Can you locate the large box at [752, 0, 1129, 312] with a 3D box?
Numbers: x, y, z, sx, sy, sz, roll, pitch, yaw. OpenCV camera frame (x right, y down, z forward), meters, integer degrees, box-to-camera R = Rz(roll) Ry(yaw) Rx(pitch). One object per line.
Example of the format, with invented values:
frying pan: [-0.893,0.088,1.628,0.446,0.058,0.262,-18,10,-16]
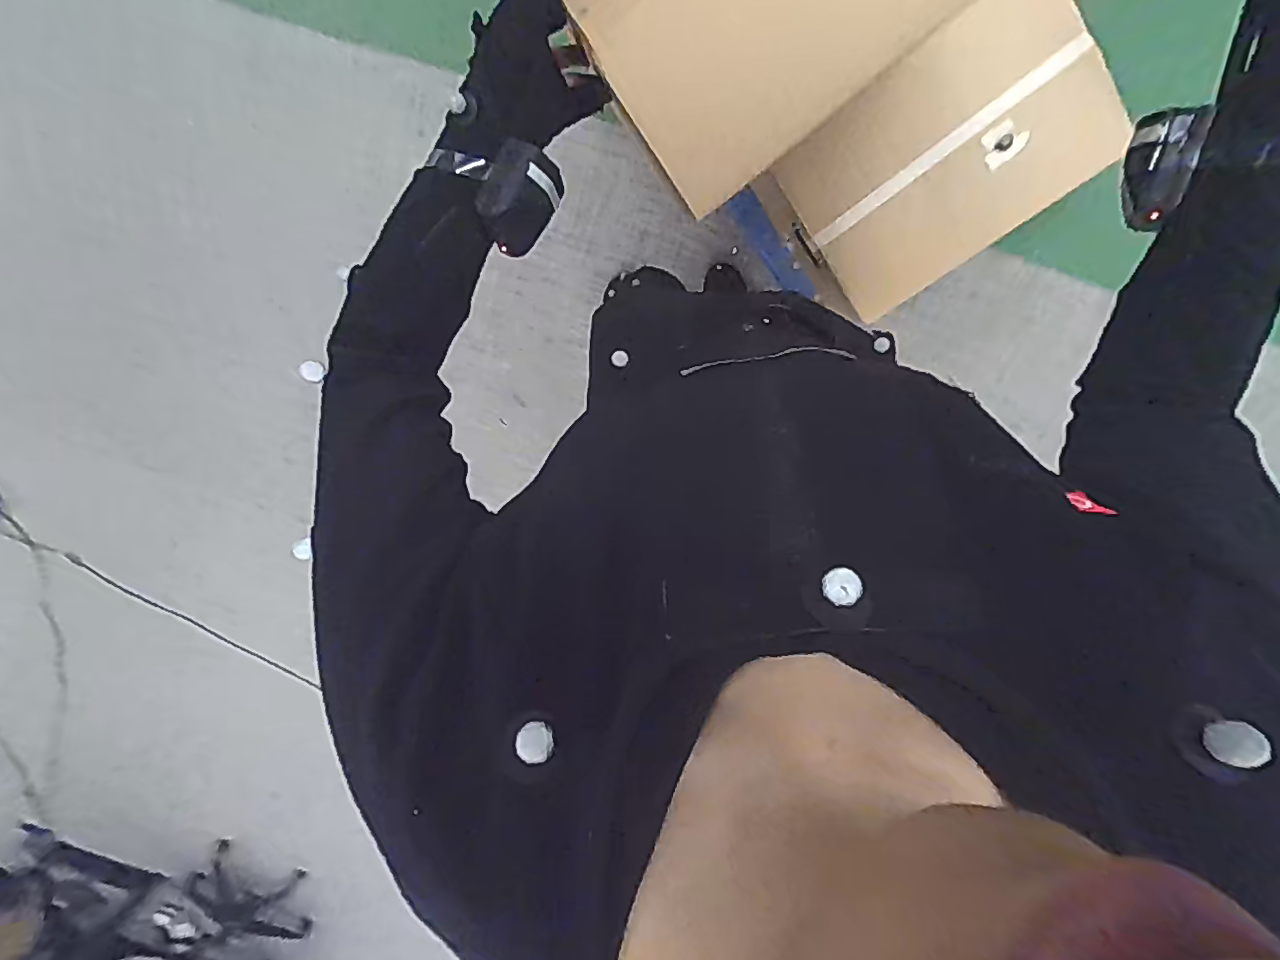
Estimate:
large box: [0.441,-0.534,0.905,0.408,0.320,0.320,-34,102,19]
